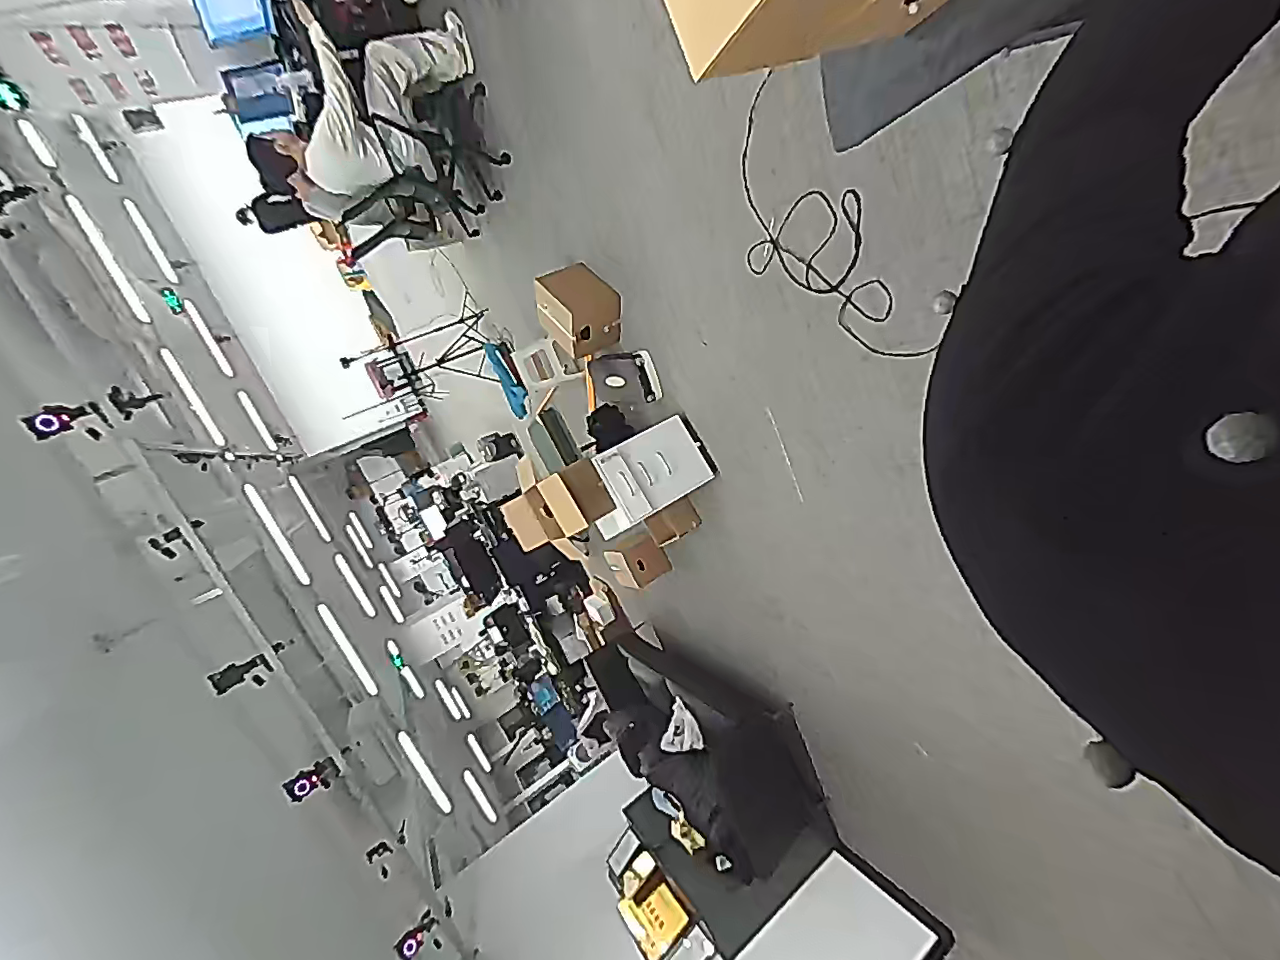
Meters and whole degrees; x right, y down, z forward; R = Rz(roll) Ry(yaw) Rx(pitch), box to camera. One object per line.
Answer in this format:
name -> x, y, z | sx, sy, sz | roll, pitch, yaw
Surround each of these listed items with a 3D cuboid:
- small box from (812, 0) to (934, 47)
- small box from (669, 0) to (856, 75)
small box -> 0.267, -0.591, 0.544 | 0.179, 0.176, 0.168 | 9, 125, 63
small box -> 0.129, -0.521, 0.495 | 0.179, 0.176, 0.168 | -1, 116, 64
